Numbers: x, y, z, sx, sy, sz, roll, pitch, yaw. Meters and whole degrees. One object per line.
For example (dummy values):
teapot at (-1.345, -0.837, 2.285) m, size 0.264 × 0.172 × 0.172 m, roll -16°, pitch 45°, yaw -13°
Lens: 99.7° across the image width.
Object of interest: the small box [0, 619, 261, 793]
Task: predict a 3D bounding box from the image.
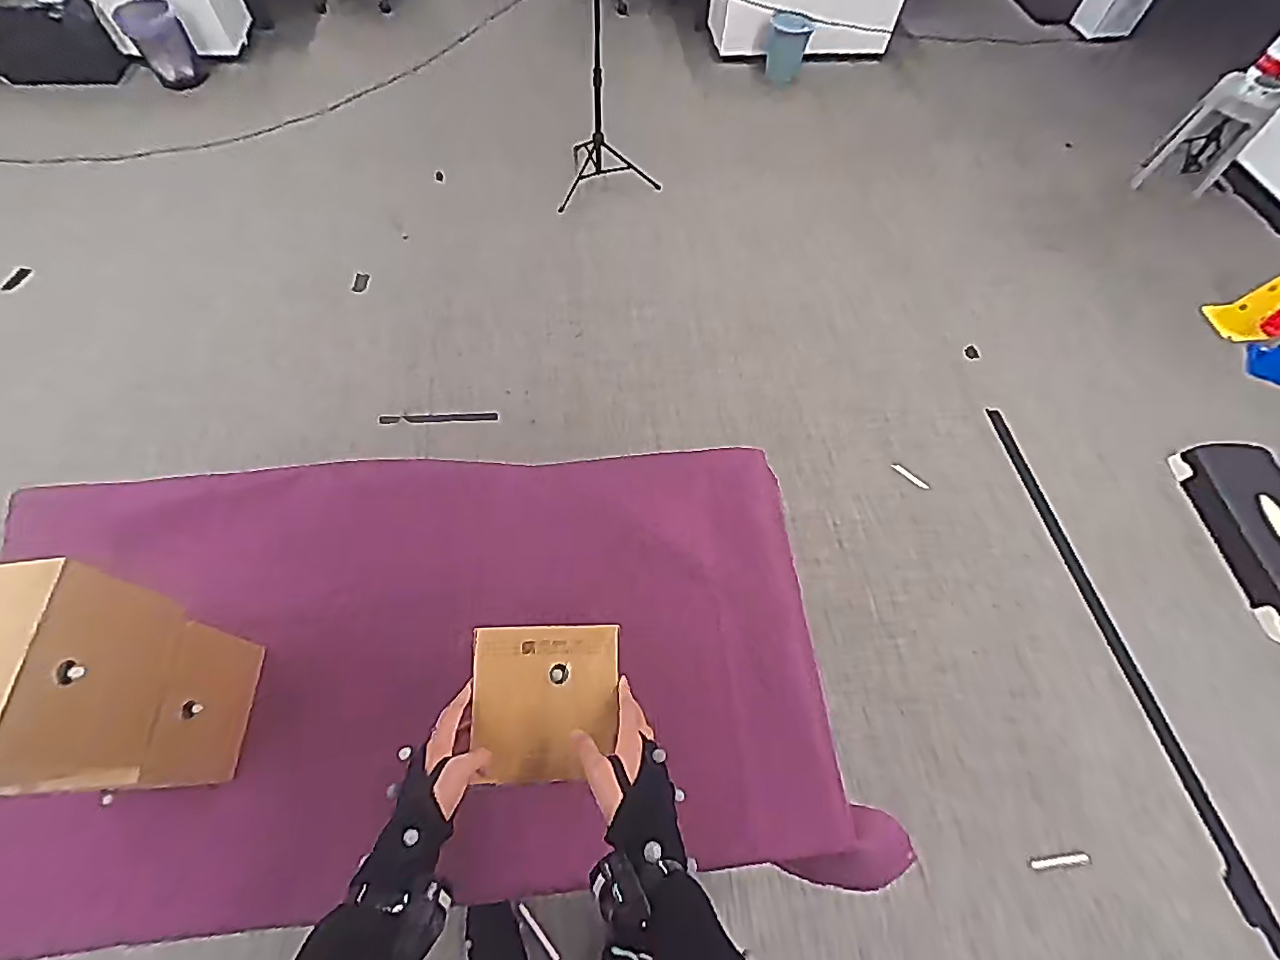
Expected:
small box at (-0.616, 0.281, 0.673) m, size 0.168 × 0.176 × 0.179 m, roll -1°, pitch 61°, yaw -5°

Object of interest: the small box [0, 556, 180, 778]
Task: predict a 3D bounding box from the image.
small box at (-0.612, 0.192, 0.534) m, size 0.168 × 0.176 × 0.179 m, roll -5°, pitch 61°, yaw -7°

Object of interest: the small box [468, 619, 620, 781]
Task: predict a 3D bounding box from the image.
small box at (-0.111, 0.268, 0.688) m, size 0.168 × 0.179 × 0.176 m, roll 0°, pitch 73°, yaw -3°
